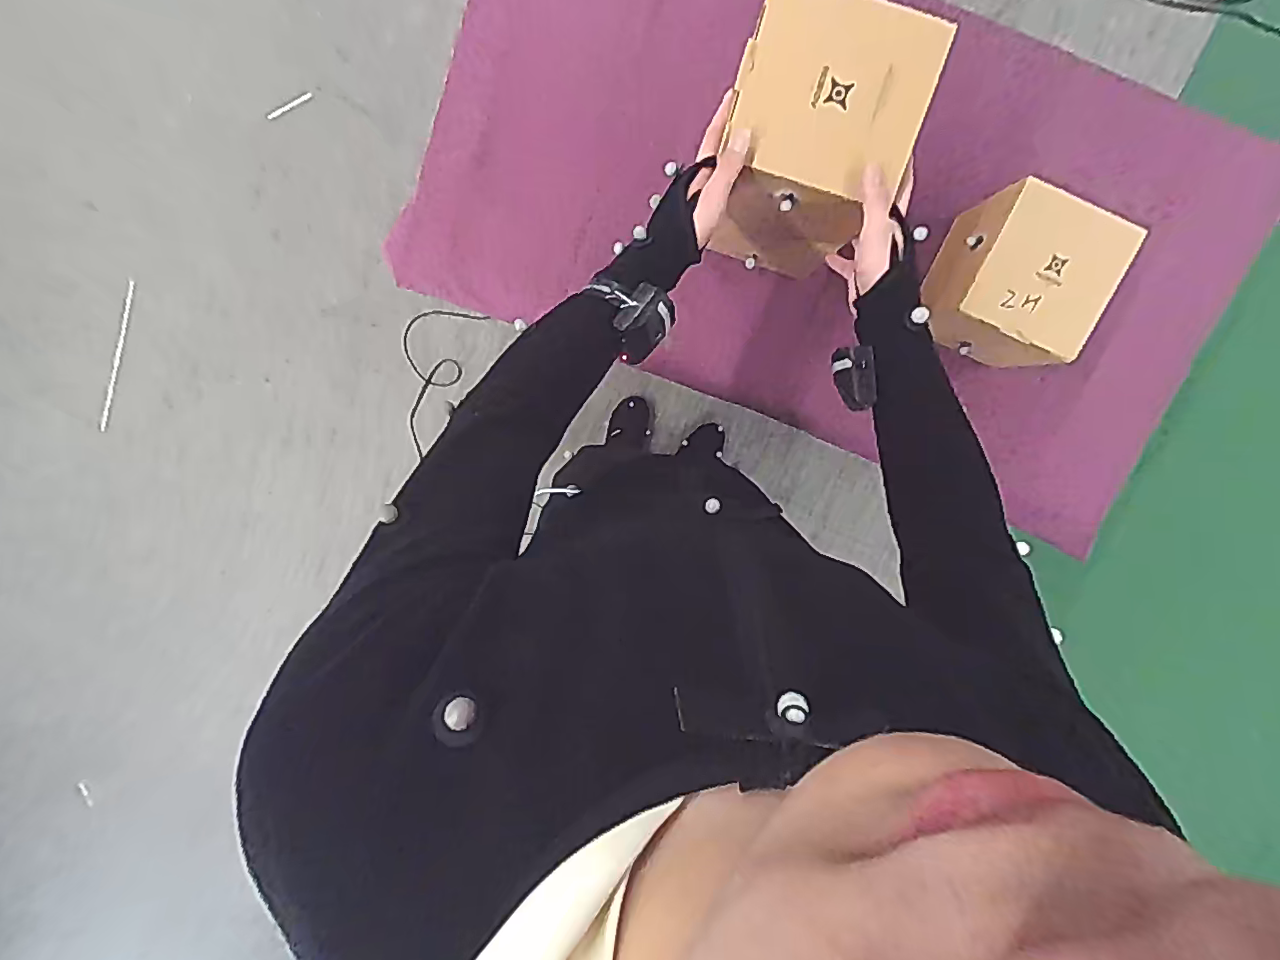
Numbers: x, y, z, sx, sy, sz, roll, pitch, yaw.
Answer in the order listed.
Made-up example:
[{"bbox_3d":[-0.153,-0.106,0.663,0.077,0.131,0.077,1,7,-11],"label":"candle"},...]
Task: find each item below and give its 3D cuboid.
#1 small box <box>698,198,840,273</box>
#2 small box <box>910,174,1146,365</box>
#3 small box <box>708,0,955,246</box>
[{"bbox_3d":[0.189,-0.398,0.740,0.179,0.176,0.168,18,100,-1],"label":"small box"},{"bbox_3d":[0.512,-0.273,0.746,0.168,0.176,0.179,24,100,-1],"label":"small box"},{"bbox_3d":[0.181,-0.372,0.578,0.179,0.176,0.168,18,101,-1],"label":"small box"}]
